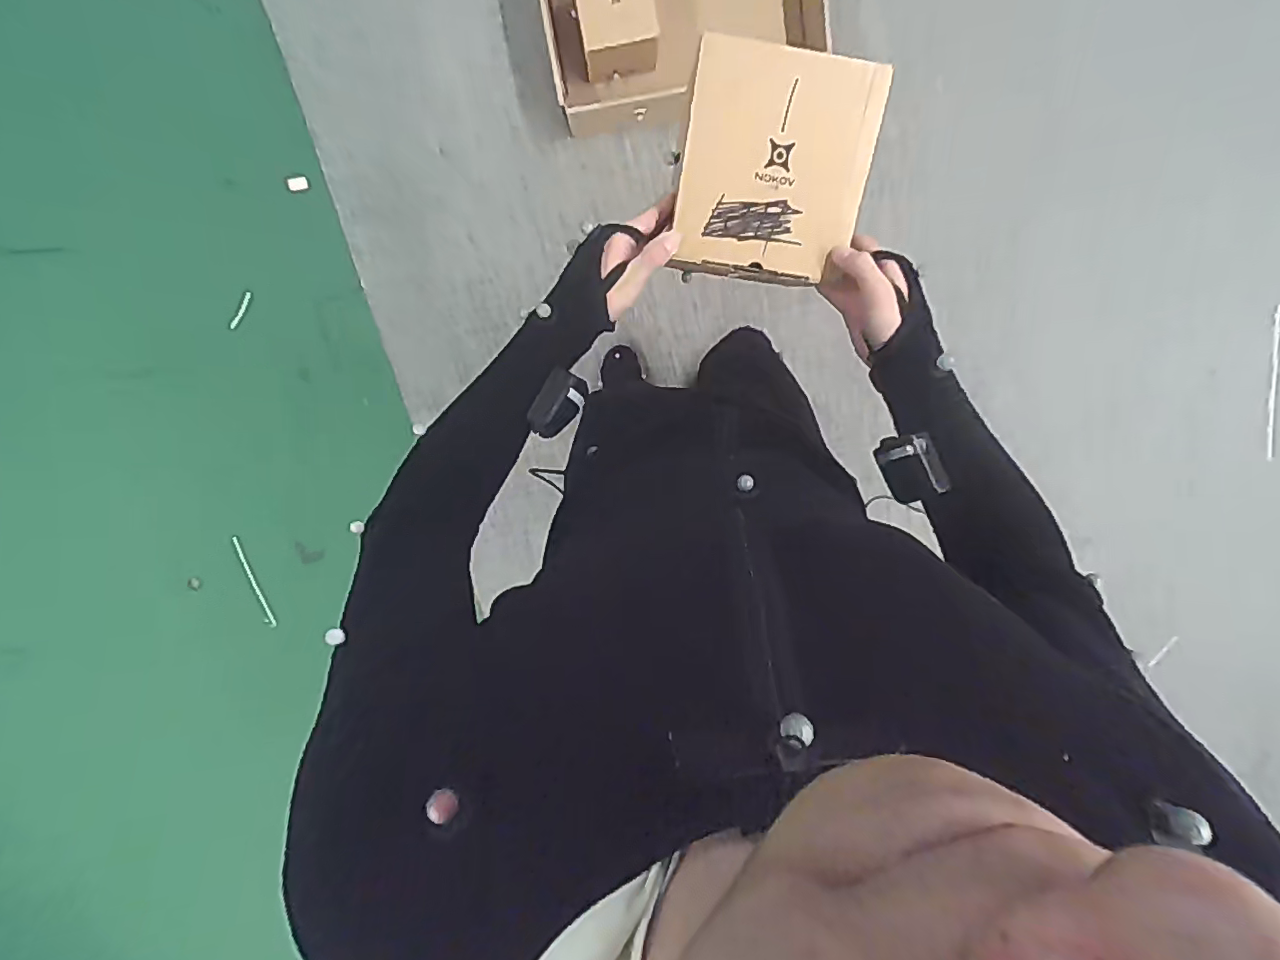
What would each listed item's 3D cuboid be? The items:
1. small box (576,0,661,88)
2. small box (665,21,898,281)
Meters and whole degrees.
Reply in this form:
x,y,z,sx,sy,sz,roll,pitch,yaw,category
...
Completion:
x,y,z,sx,sy,sz,roll,pitch,yaw,category
-0.051,-1.024,1.208,0.168,0.176,0.179,-10,105,2,small box
0.119,-0.302,0.541,0.168,0.176,0.179,8,107,-3,small box
